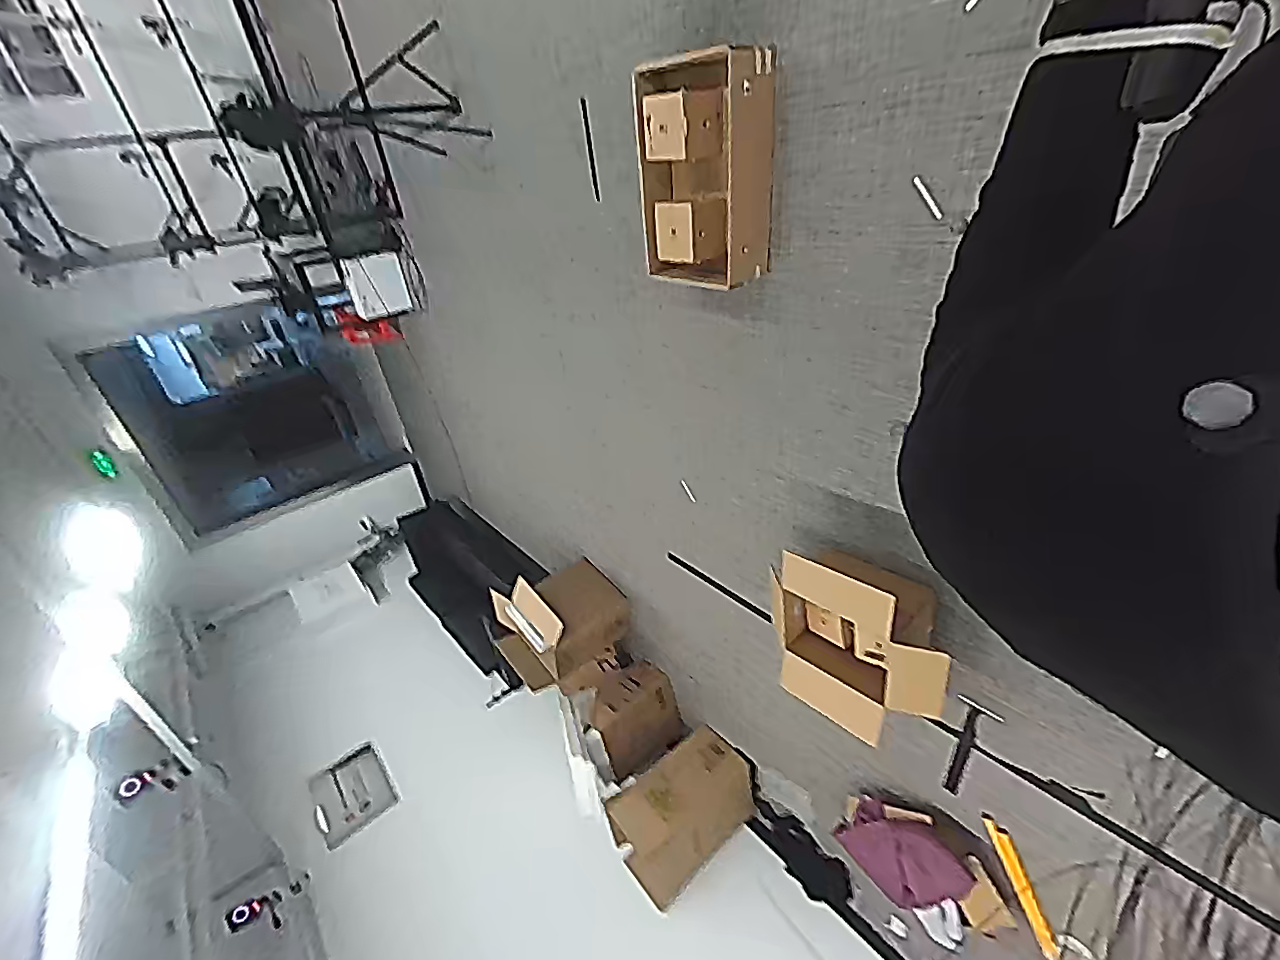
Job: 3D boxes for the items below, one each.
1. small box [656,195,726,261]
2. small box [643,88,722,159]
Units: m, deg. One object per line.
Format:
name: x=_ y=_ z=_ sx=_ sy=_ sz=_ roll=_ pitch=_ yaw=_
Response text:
small box: x=0.172 y=-0.838 z=1.793 sx=0.168 sy=0.176 sz=0.179 roll=26 pitch=133 yaw=41
small box: x=0.135 y=-1.087 z=1.649 sx=0.179 sy=0.176 sz=0.168 roll=29 pitch=137 yaw=40
